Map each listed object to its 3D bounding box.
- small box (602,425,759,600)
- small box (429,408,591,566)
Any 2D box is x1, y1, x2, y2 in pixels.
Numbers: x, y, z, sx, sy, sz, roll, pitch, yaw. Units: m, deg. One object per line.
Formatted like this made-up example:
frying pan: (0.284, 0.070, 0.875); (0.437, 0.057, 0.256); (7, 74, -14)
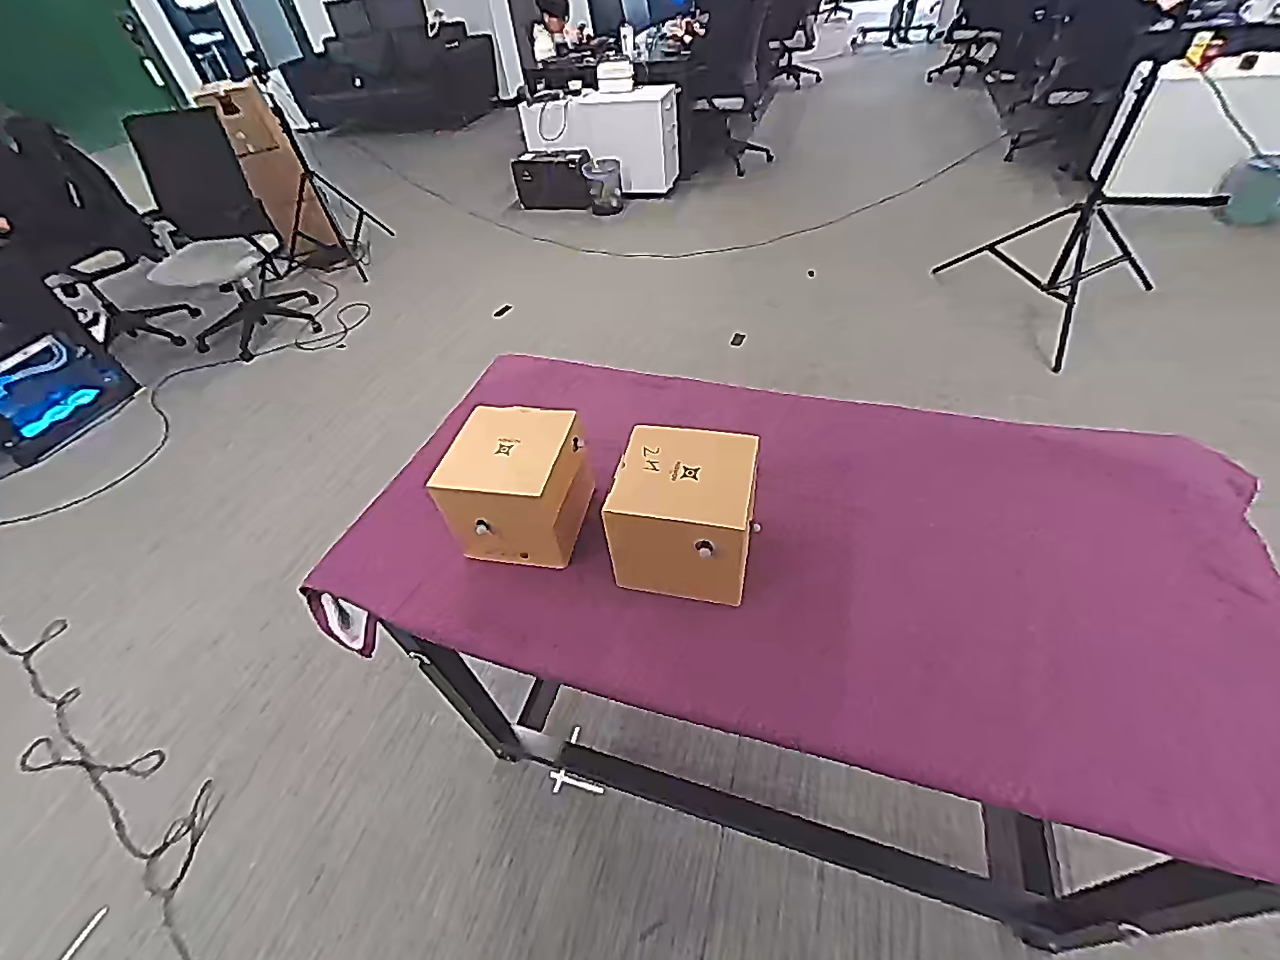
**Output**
small box: (0.063, 0.046, 0.748); (0.179, 0.176, 0.168); (6, 46, 13)
small box: (-0.181, 0.011, 0.819); (0.168, 0.176, 0.179); (4, 46, 12)
